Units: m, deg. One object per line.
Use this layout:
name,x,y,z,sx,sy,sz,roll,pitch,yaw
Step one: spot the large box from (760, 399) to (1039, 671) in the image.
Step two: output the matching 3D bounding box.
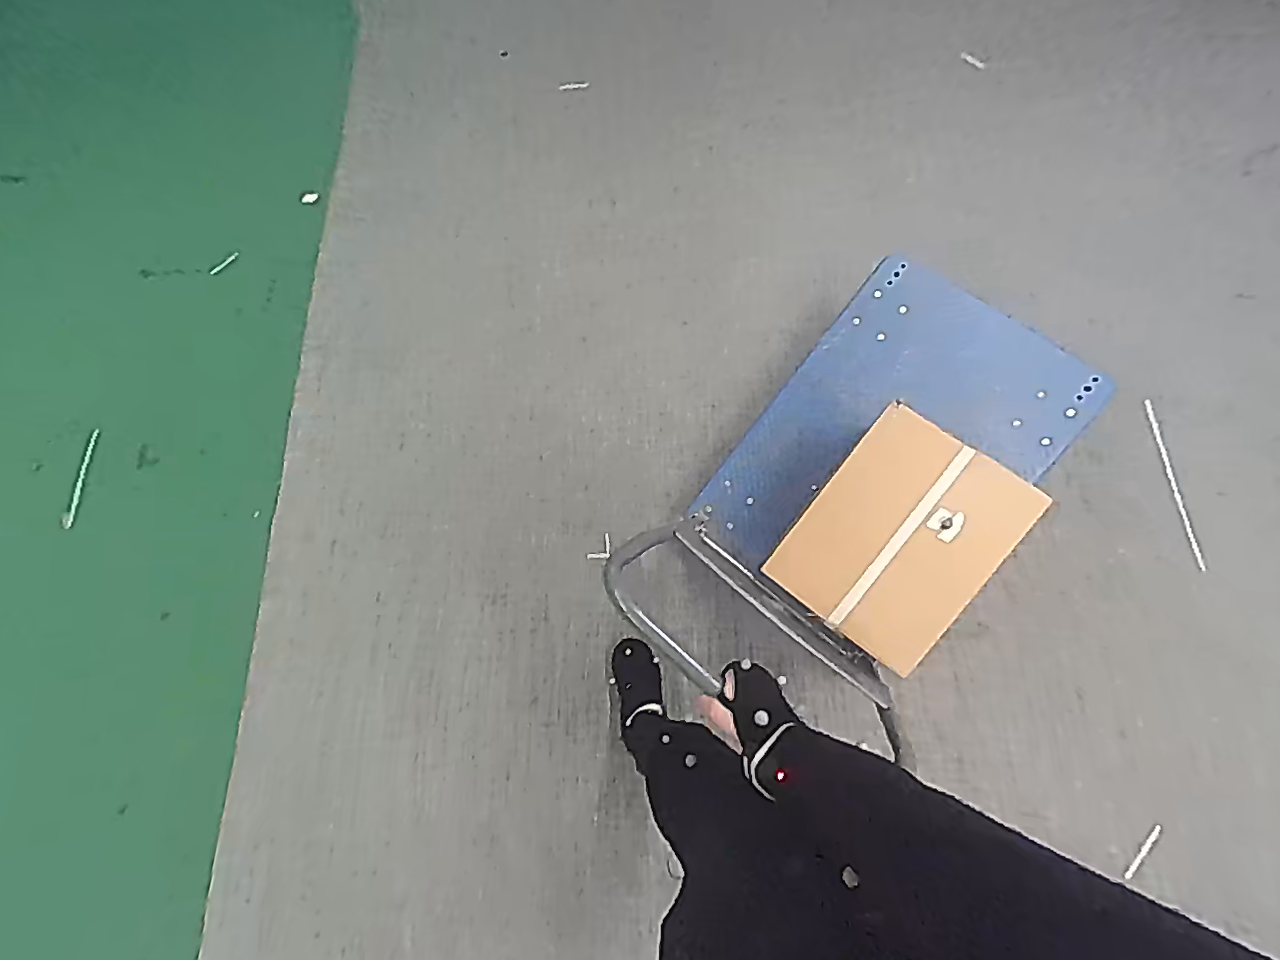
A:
large box,0.493,0.109,1.122,0.320,0.320,0.408,38,95,13
